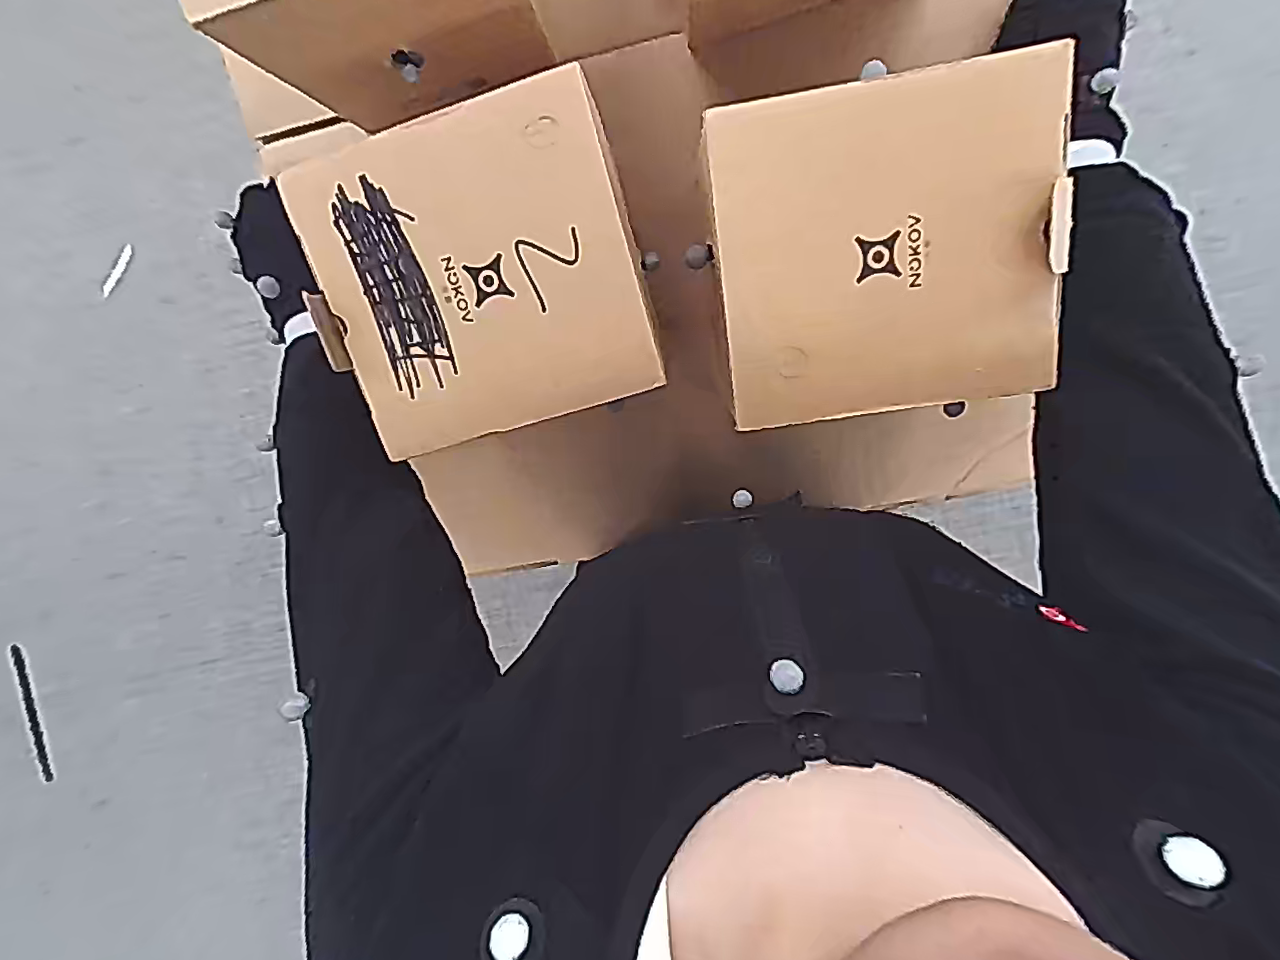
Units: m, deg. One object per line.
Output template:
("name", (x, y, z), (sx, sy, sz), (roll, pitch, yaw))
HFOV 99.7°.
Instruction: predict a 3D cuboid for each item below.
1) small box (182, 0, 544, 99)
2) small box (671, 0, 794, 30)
("small box", (-0.168, -0.359, 0.318), (0.168, 0.176, 0.179), (-11, 106, 7))
("small box", (0.088, -0.395, 0.289), (0.179, 0.176, 0.168), (-12, 106, 9))
